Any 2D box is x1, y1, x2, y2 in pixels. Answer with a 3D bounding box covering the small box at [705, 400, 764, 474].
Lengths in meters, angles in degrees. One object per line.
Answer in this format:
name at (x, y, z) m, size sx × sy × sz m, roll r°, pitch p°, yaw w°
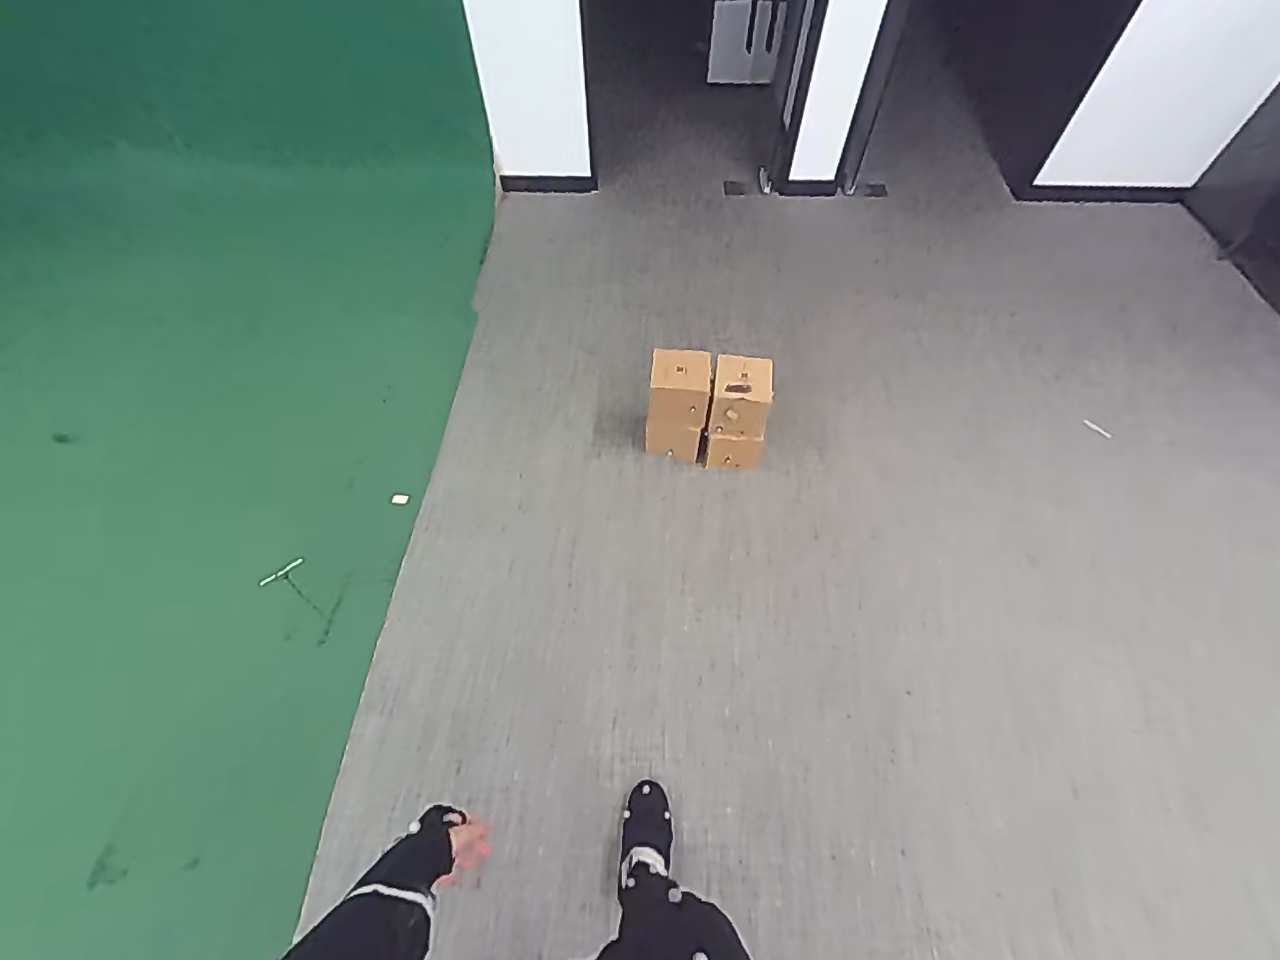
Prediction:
small box at (0.303, -0.139, 1.772) m, size 0.168 × 0.176 × 0.179 m, roll 2°, pitch 57°, yaw 1°
